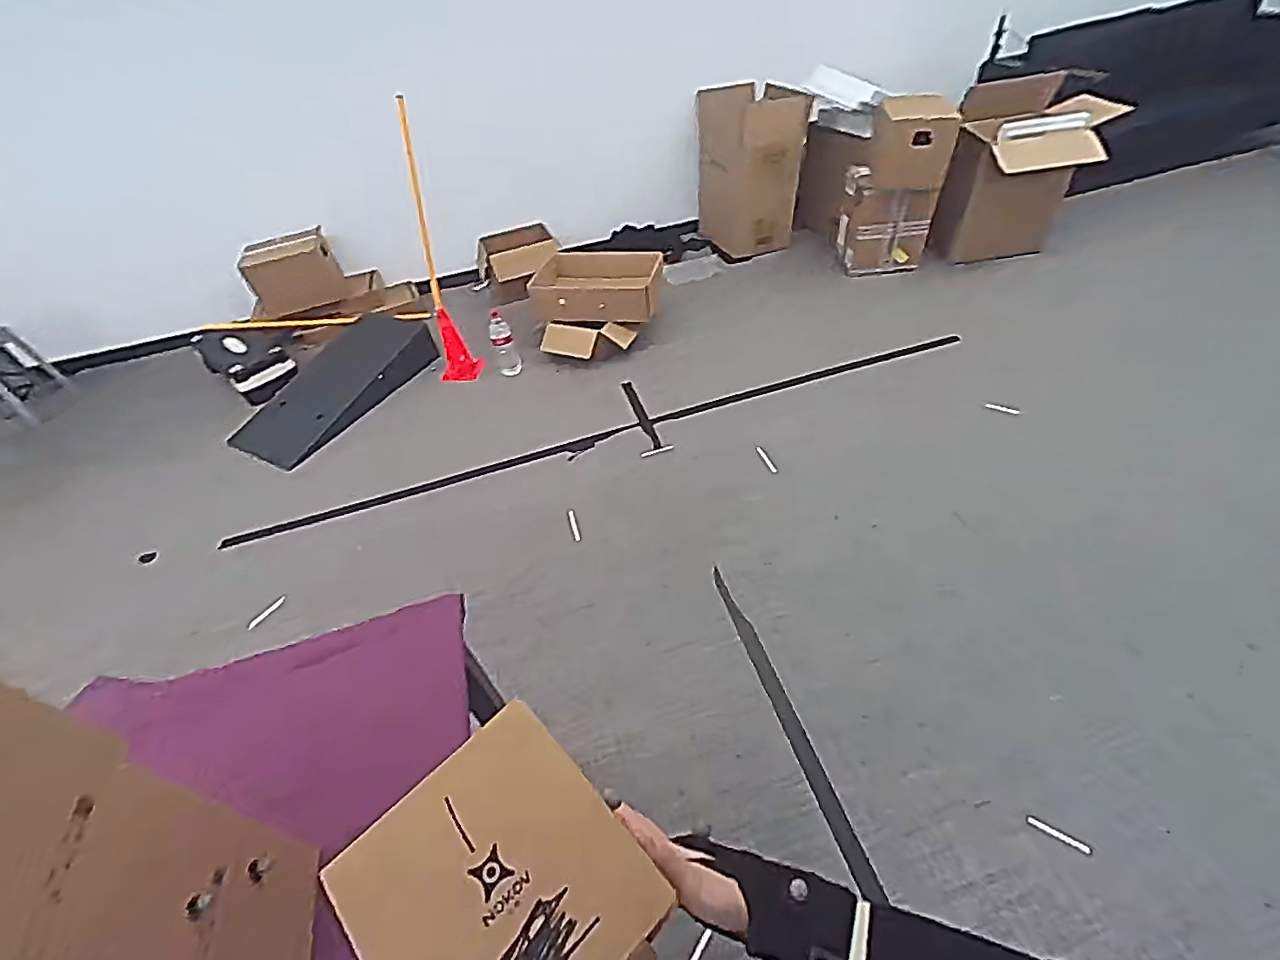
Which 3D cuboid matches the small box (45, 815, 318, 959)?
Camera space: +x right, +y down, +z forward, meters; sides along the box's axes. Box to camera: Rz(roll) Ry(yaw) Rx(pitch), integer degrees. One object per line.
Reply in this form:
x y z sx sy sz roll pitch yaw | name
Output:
-0.464 0.491 0.561 0.168 0.176 0.179 -18 46 -8 | small box

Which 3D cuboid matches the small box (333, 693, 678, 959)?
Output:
-0.088 0.305 0.420 0.168 0.176 0.179 -37 61 -23 | small box
